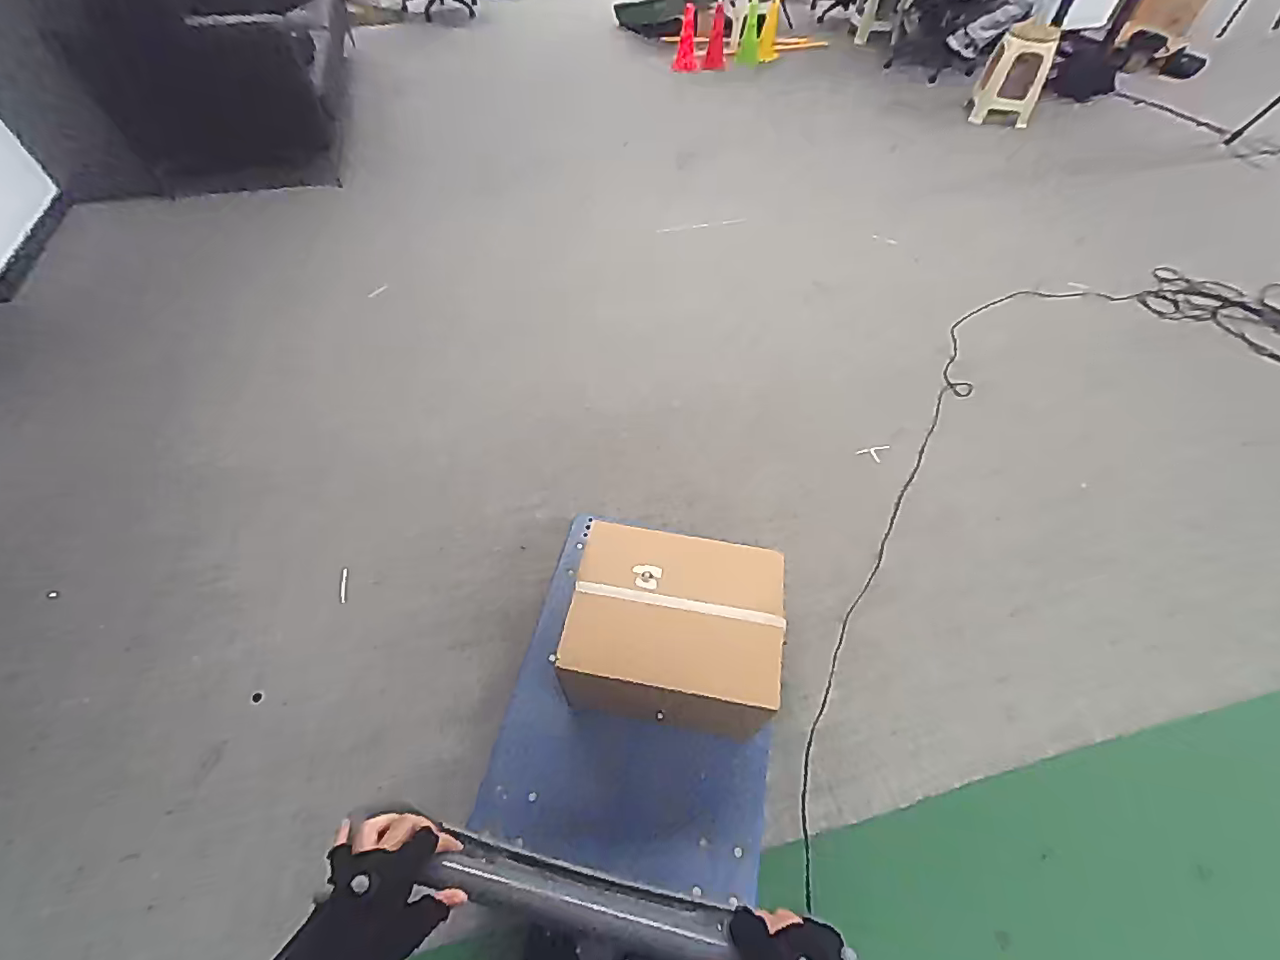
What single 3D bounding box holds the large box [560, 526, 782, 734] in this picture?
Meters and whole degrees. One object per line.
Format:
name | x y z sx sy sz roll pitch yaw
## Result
large box | 0.075 0.328 1.161 0.408 0.320 0.320 8 54 6
